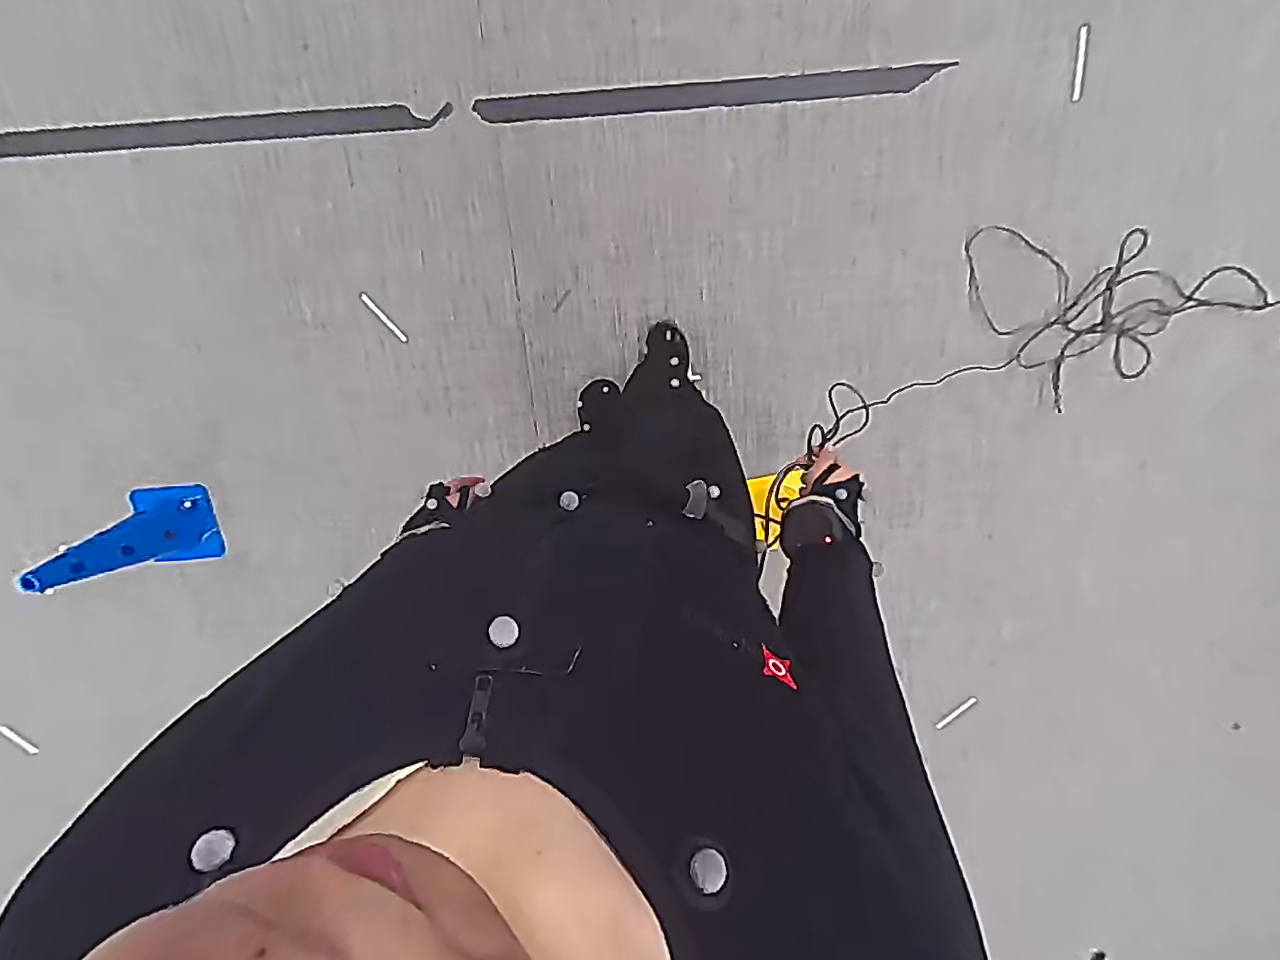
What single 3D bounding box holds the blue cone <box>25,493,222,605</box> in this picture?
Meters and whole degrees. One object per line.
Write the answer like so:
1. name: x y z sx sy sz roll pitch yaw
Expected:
1. blue cone: -1.186 0.169 1.230 0.193 0.380 0.192 -4 105 1
